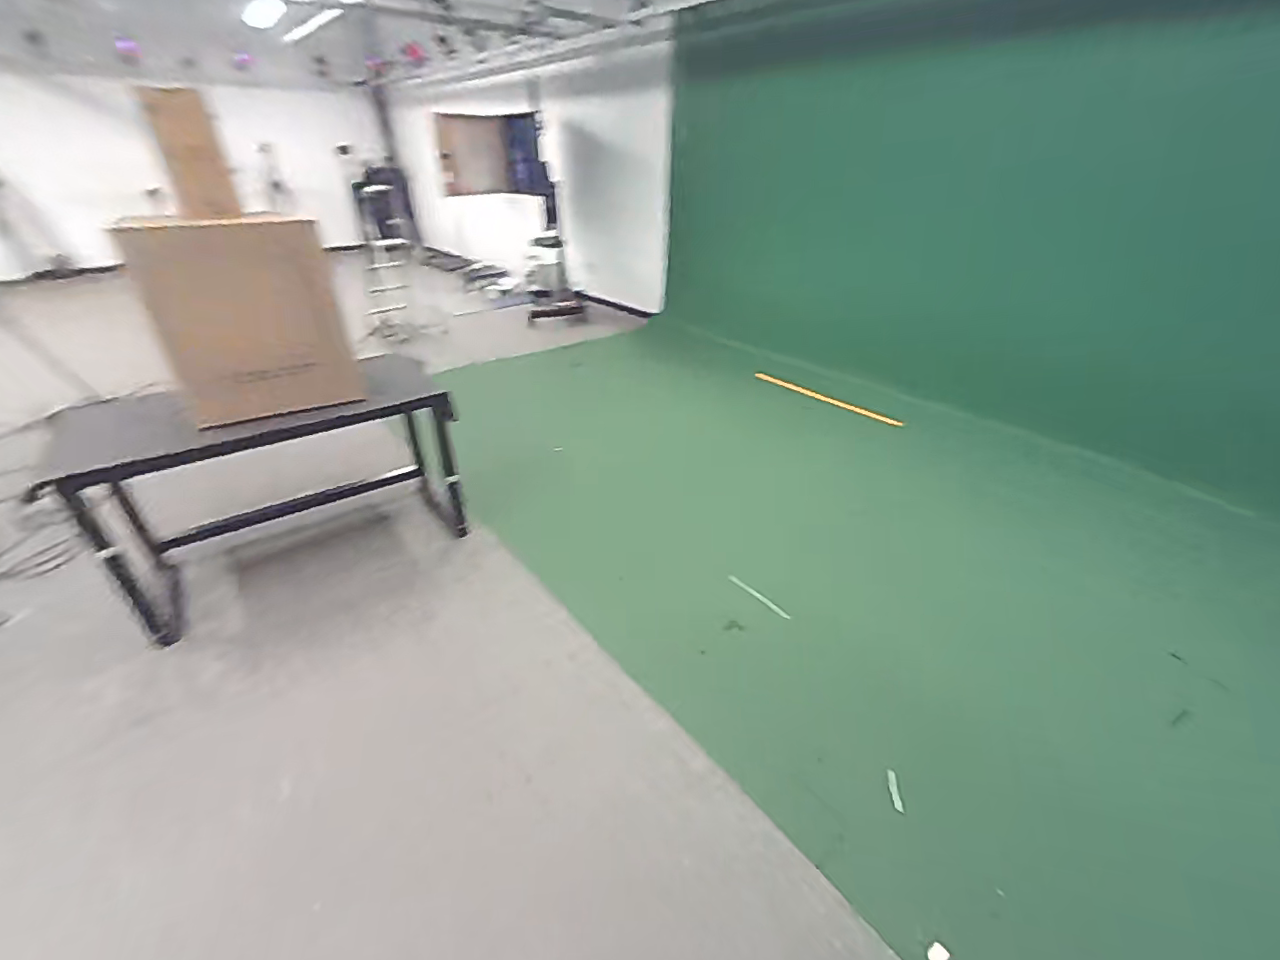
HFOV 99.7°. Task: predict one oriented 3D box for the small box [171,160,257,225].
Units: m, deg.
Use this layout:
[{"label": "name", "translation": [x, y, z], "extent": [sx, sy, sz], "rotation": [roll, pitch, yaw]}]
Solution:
[{"label": "small box", "translation": [-1.322, -0.899, 1.691], "extent": [0.168, 0.176, 0.179], "rotation": [-16, 37, -26]}]
